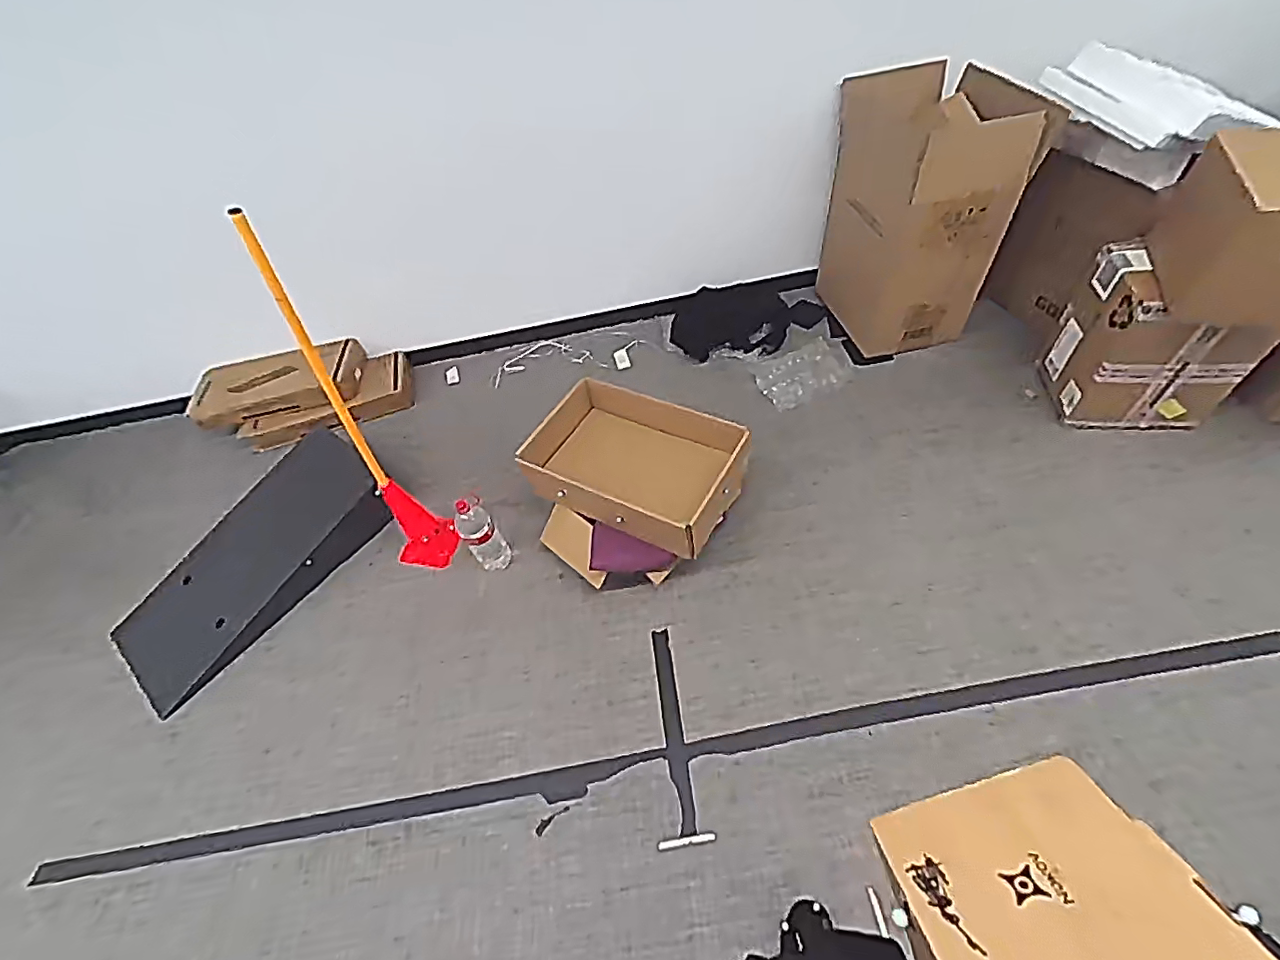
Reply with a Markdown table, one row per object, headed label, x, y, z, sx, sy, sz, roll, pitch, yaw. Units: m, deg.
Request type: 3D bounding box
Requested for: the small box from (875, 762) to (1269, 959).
| label | x | y | z | sx | sy | sz | roll | pitch | yaw |
| --- | --- | --- | --- | --- | --- | --- | --- | --- | --- |
| small box | 0.312 | 0.362 | 0.409 | 0.179 | 0.176 | 0.168 | -20 | 14 | 4 |
